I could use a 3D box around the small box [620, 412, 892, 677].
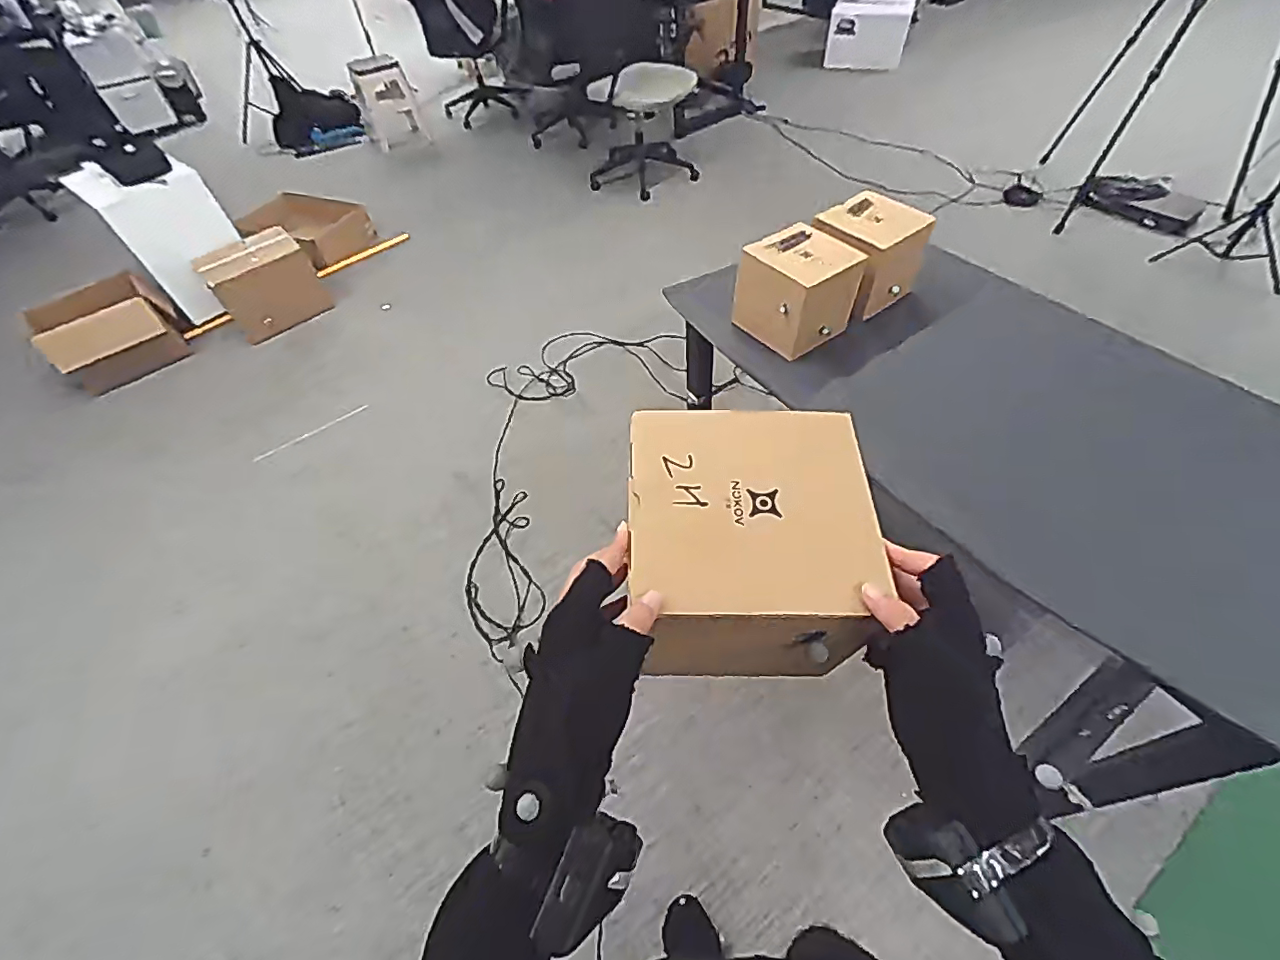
[{"bbox_3d":[0.075,0.061,0.450,0.179,0.176,0.168,0,57,0],"label":"small box"}]

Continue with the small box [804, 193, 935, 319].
[{"bbox_3d":[0.473,-0.473,1.147,0.168,0.176,0.179,-33,57,-19],"label":"small box"}]
